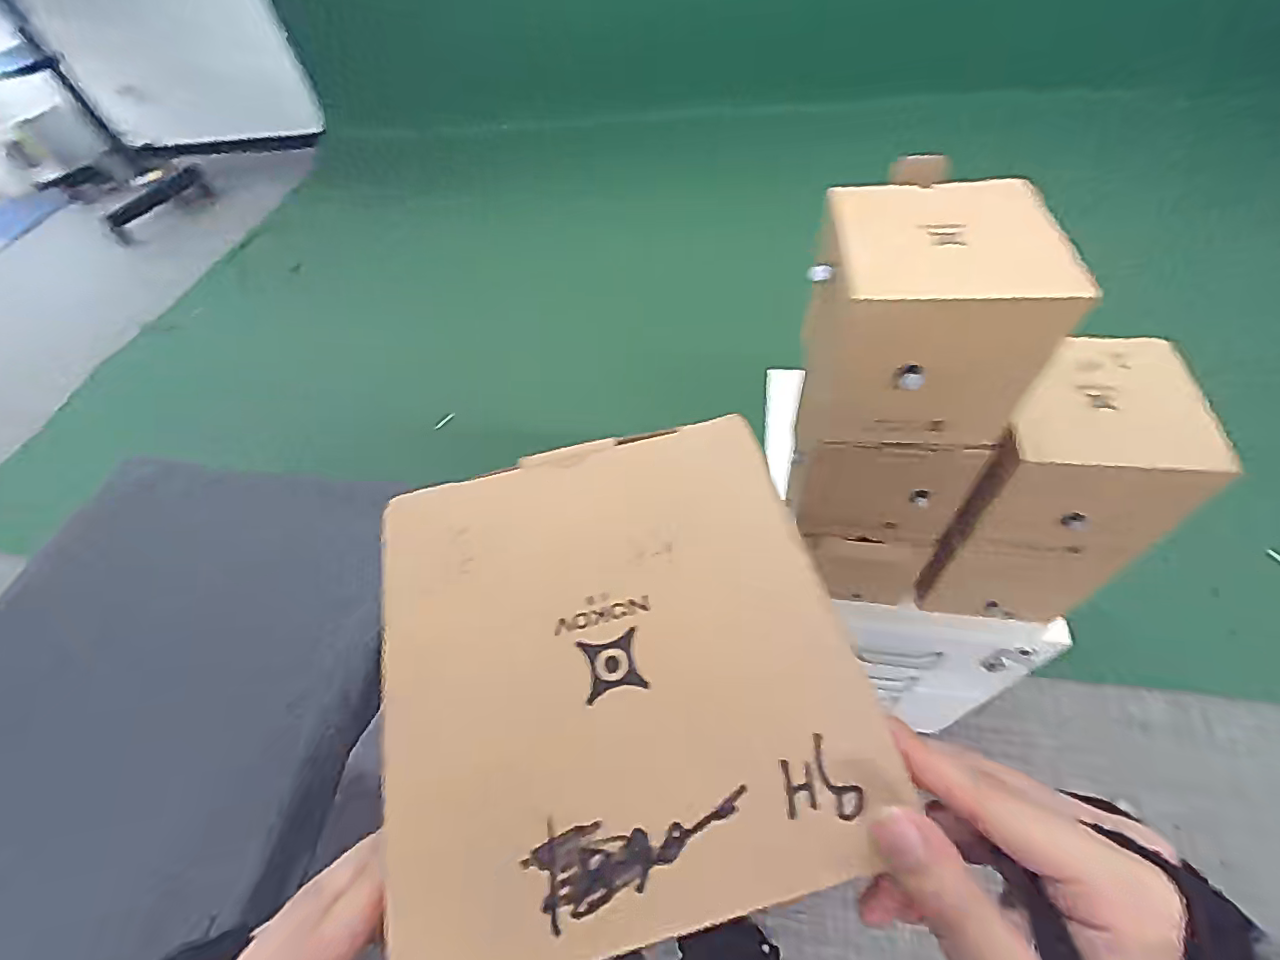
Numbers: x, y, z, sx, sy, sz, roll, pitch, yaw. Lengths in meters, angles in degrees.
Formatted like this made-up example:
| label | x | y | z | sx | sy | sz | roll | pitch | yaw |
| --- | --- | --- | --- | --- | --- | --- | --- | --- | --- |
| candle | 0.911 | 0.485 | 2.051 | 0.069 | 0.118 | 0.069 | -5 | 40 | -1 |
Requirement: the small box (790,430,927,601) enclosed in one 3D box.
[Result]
| label | x | y | z | sx | sy | sz | roll | pitch | yaw |
| --- | --- | --- | --- | --- | --- | --- | --- | --- | --- |
| small box | 0.282 | 0.053 | 0.759 | 0.168 | 0.176 | 0.179 | 5 | 54 | 10 |

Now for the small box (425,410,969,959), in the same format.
| label | x | y | z | sx | sy | sz | roll | pitch | yaw |
| --- | --- | --- | --- | --- | --- | --- | --- | --- | --- |
| small box | 0.008 | 0.096 | 0.269 | 0.168 | 0.176 | 0.179 | -12 | 58 | -3 |

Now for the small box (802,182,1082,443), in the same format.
| label | x | y | z | sx | sy | sz | roll | pitch | yaw |
| --- | --- | --- | --- | --- | --- | --- | --- | --- | --- |
| small box | 0.251 | -0.149 | 0.507 | 0.168 | 0.176 | 0.179 | 2 | 53 | 7 |
